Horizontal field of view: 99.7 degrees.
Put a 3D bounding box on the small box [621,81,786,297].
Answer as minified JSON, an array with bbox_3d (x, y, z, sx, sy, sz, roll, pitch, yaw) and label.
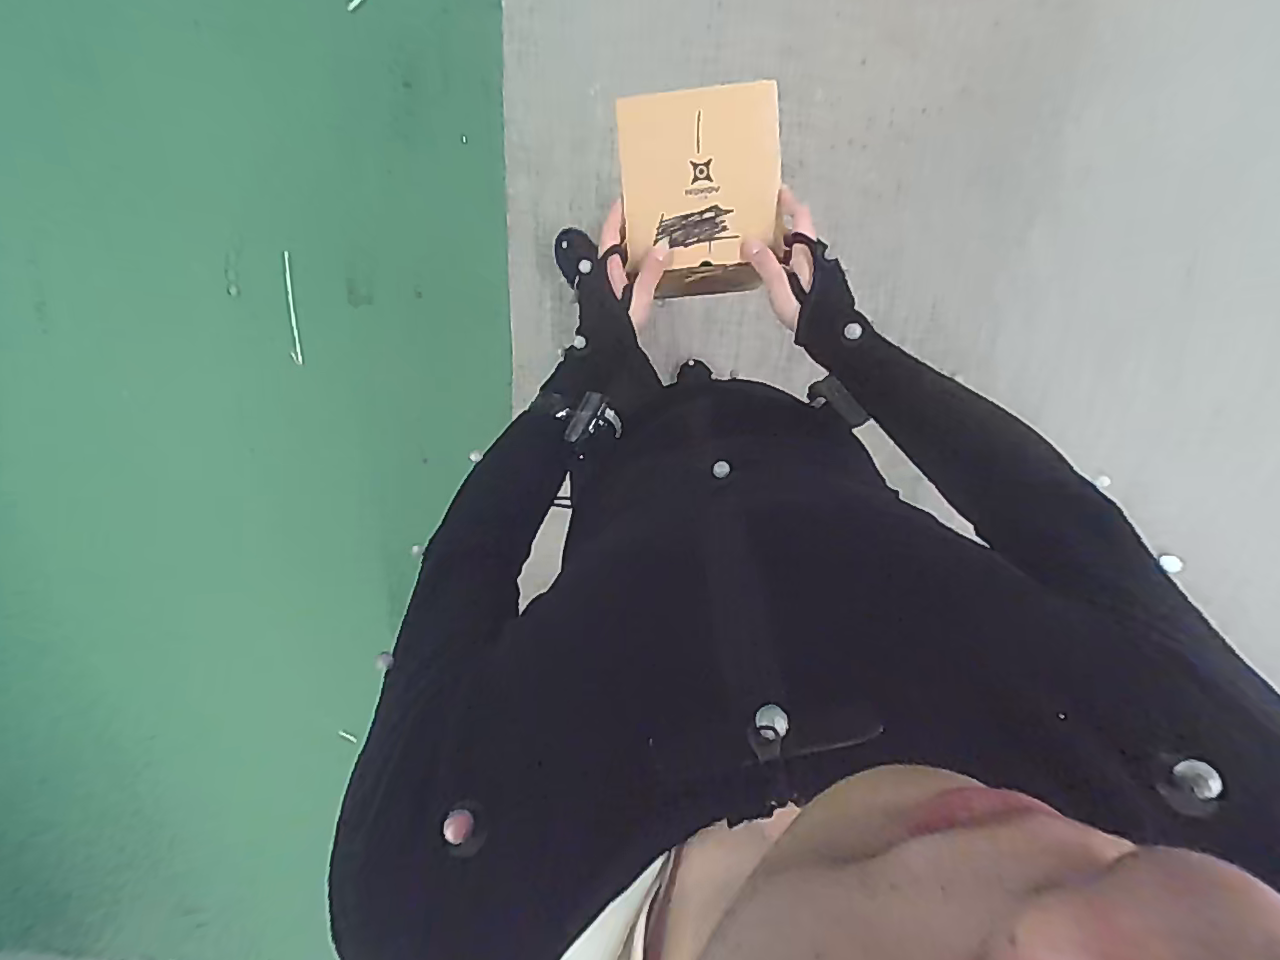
[{"bbox_3d":[0.071,-0.317,0.630,0.168,0.176,0.179,-4,98,3],"label":"small box"}]
